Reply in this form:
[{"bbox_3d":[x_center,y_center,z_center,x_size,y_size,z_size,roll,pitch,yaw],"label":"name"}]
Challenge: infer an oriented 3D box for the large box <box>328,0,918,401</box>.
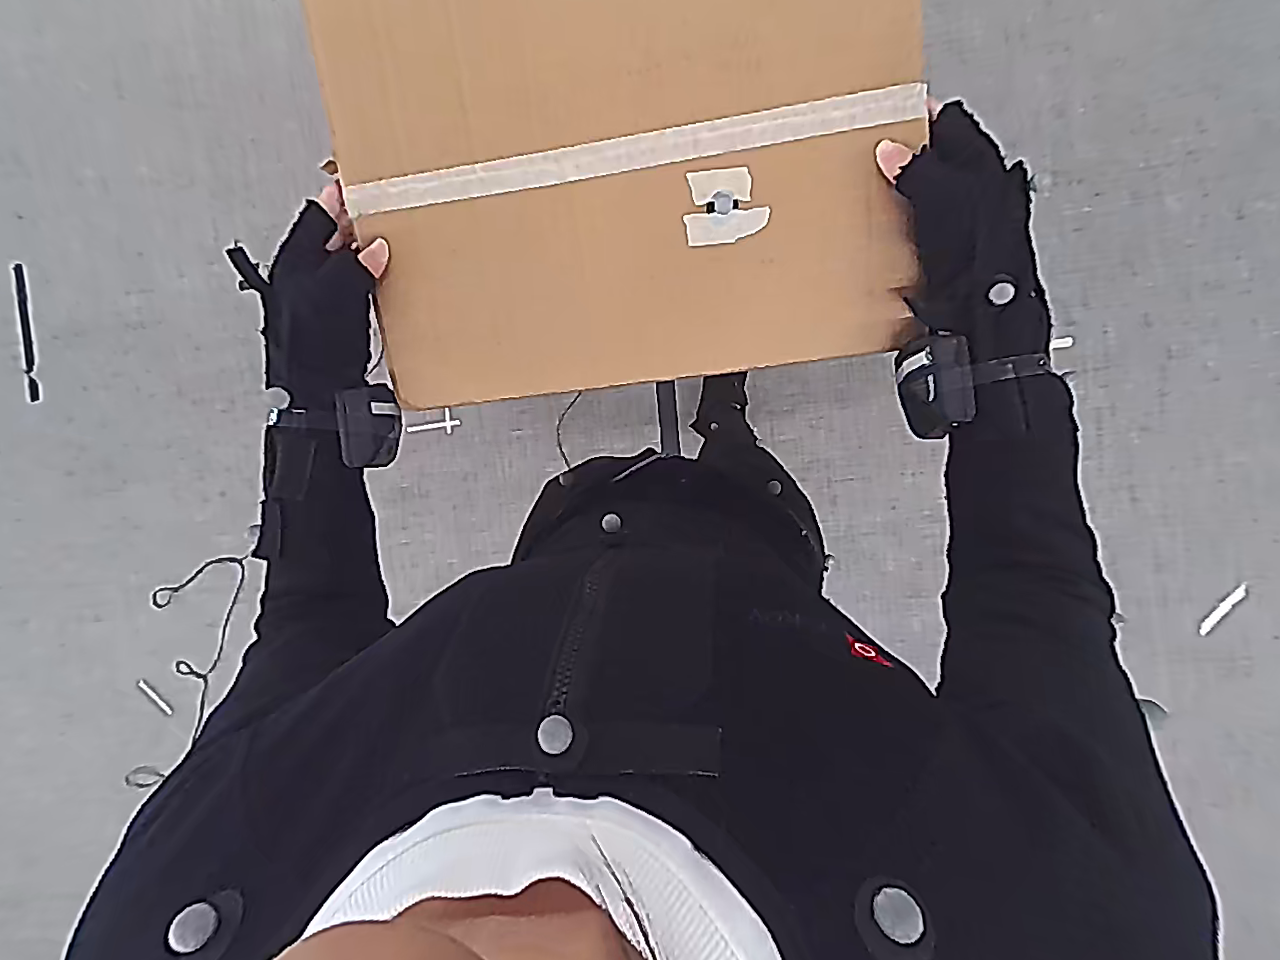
[{"bbox_3d":[0.001,-0.270,0.537,0.408,0.320,0.320,-6,104,6],"label":"large box"}]
